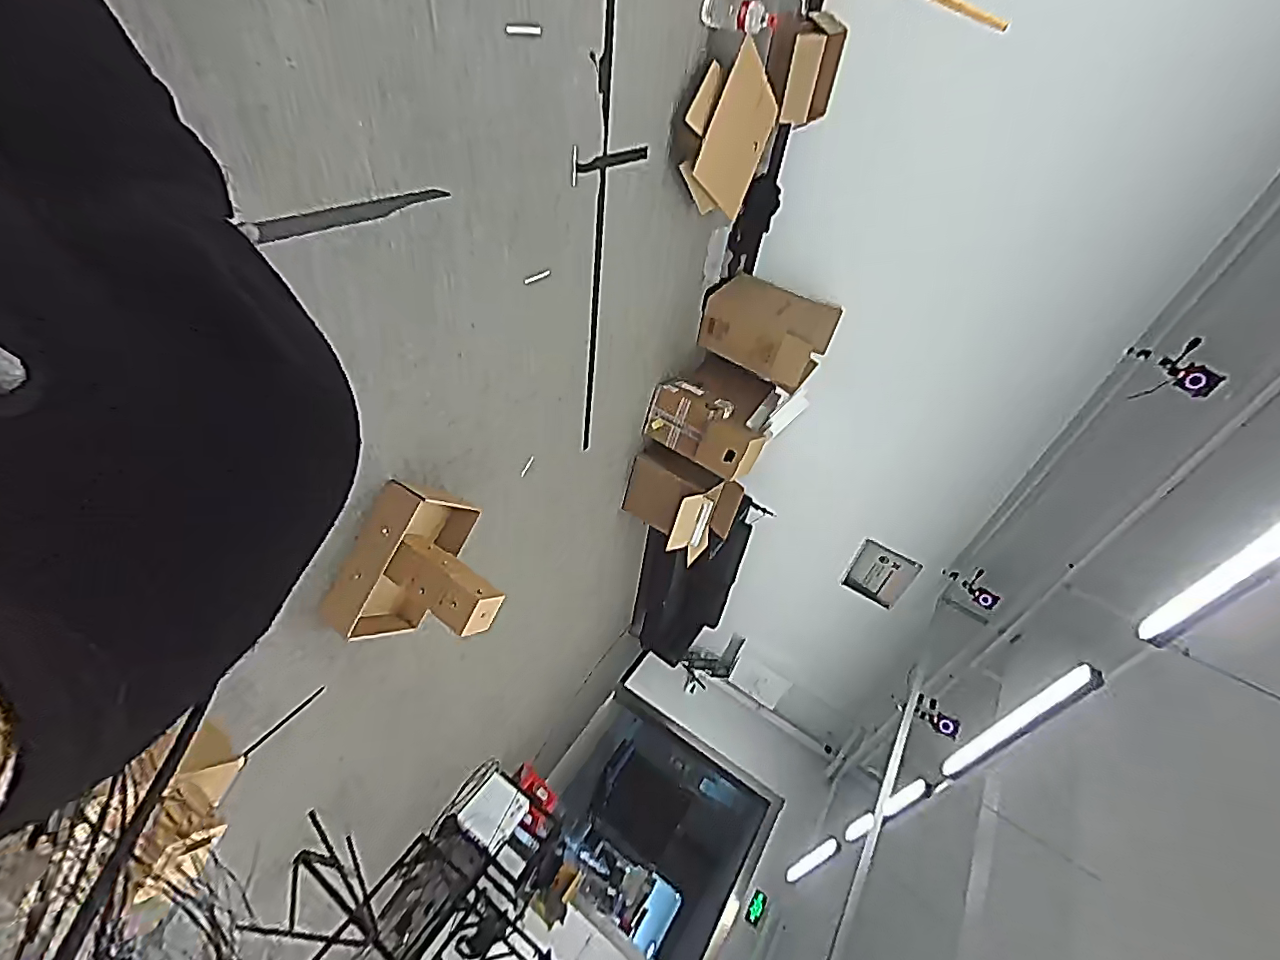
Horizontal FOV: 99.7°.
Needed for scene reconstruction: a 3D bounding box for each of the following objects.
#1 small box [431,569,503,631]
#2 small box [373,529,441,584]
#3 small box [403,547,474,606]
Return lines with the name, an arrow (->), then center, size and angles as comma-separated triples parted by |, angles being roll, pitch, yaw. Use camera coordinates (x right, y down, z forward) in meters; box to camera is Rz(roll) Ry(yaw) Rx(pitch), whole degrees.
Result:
small box -> -0.684, 0.466, 2.127 | 0.168, 0.176, 0.179 | -61, 160, 6
small box -> -0.953, 0.313, 2.234 | 0.168, 0.176, 0.179 | -61, 160, 1
small box -> -0.817, 0.384, 2.182 | 0.168, 0.176, 0.179 | -61, 162, 5
